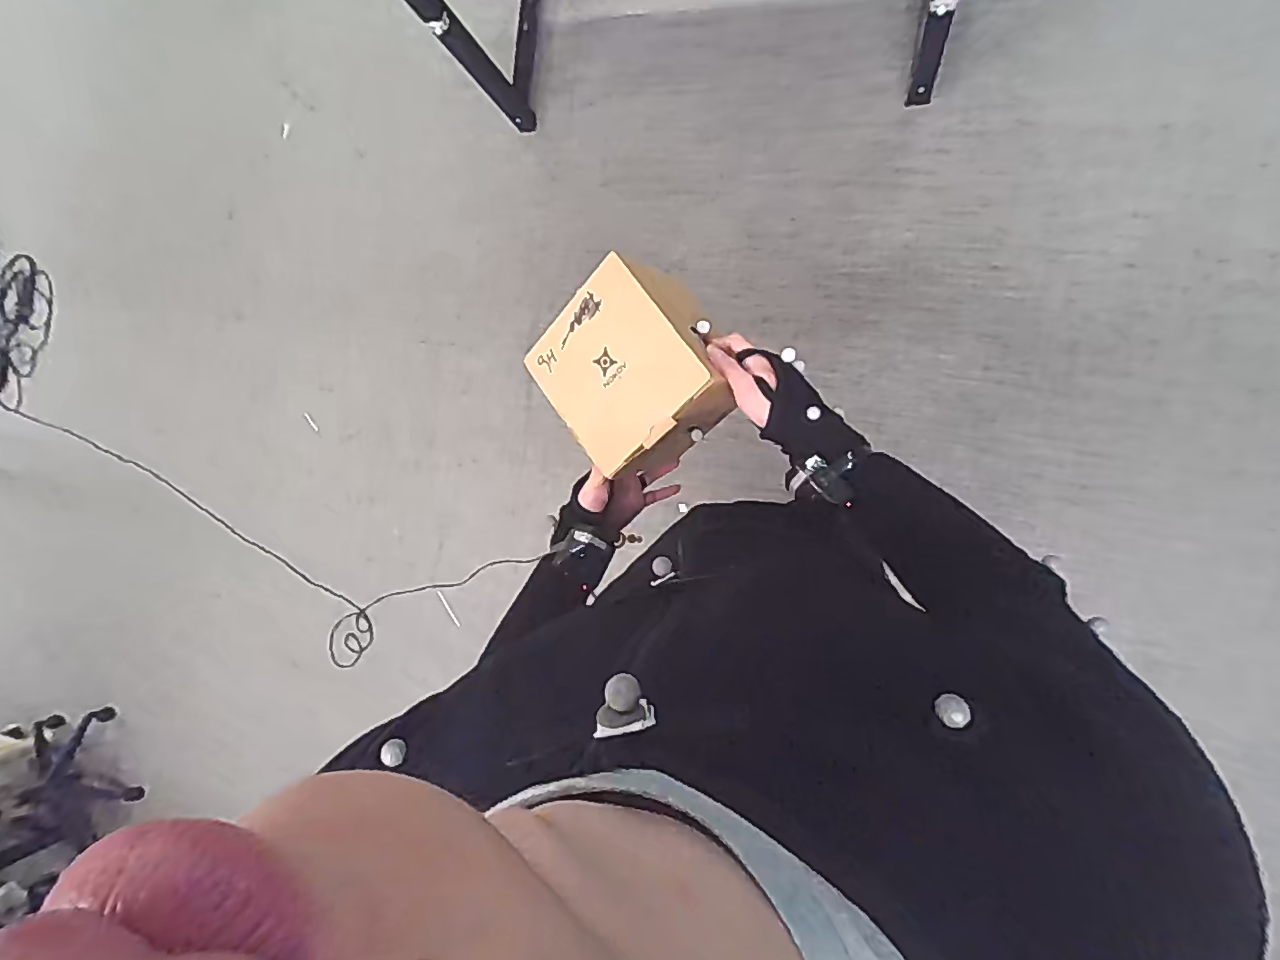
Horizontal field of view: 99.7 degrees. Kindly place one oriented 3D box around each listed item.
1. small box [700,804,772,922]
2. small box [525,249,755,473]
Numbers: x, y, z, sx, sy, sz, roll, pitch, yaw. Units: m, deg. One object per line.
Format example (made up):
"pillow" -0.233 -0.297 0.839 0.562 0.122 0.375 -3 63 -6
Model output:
"small box" 0.266 1.030 1.468 0.168 0.176 0.179 4 92 17
"small box" 0.008 -0.134 0.636 0.168 0.176 0.179 -41 79 28
